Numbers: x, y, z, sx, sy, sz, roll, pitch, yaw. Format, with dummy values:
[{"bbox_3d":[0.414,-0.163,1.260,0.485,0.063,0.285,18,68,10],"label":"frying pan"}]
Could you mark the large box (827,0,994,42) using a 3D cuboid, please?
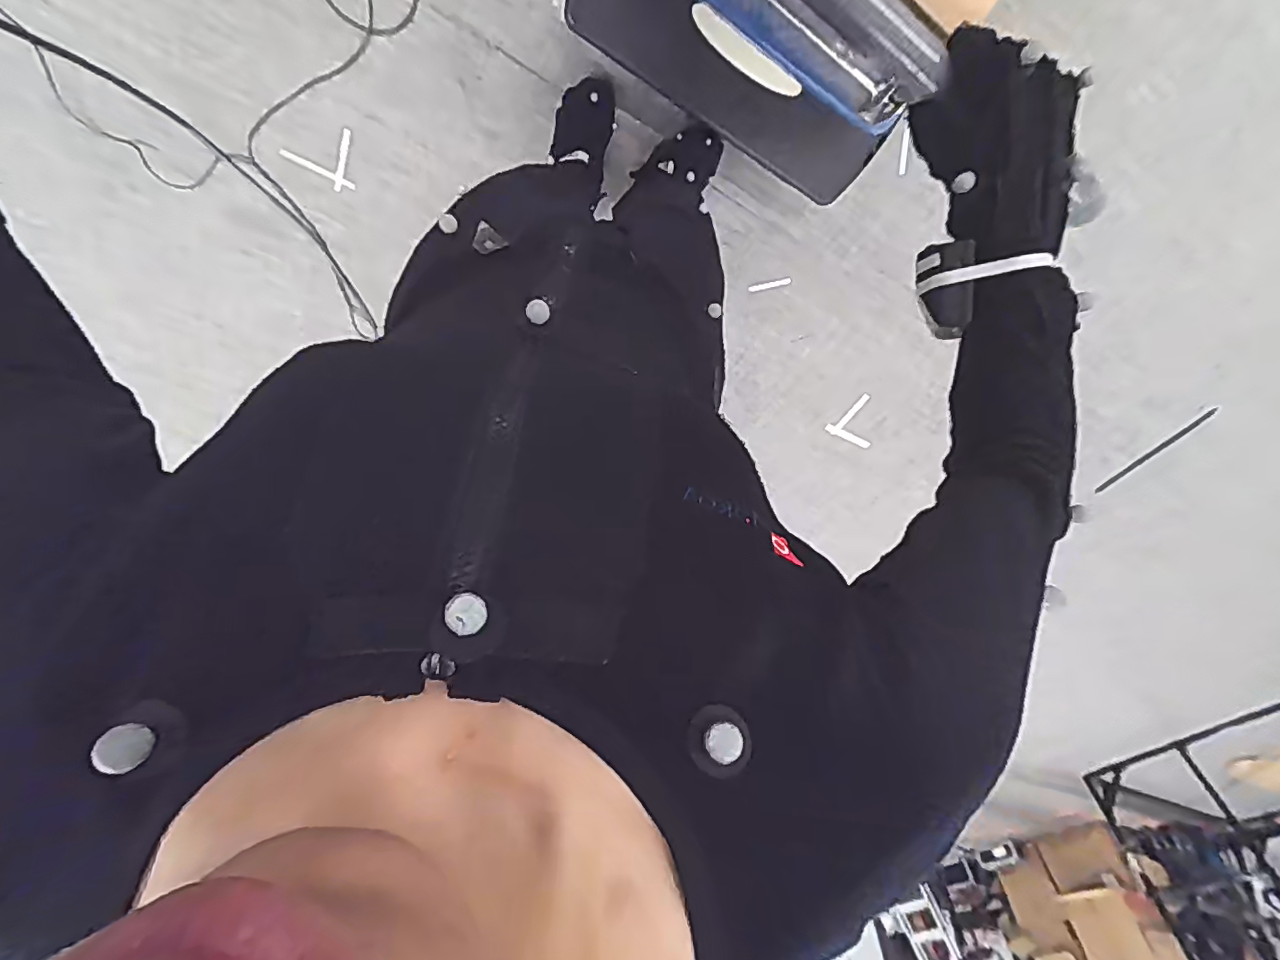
[{"bbox_3d":[0.295,-0.803,0.628,0.408,0.320,0.320,25,126,-19],"label":"large box"}]
